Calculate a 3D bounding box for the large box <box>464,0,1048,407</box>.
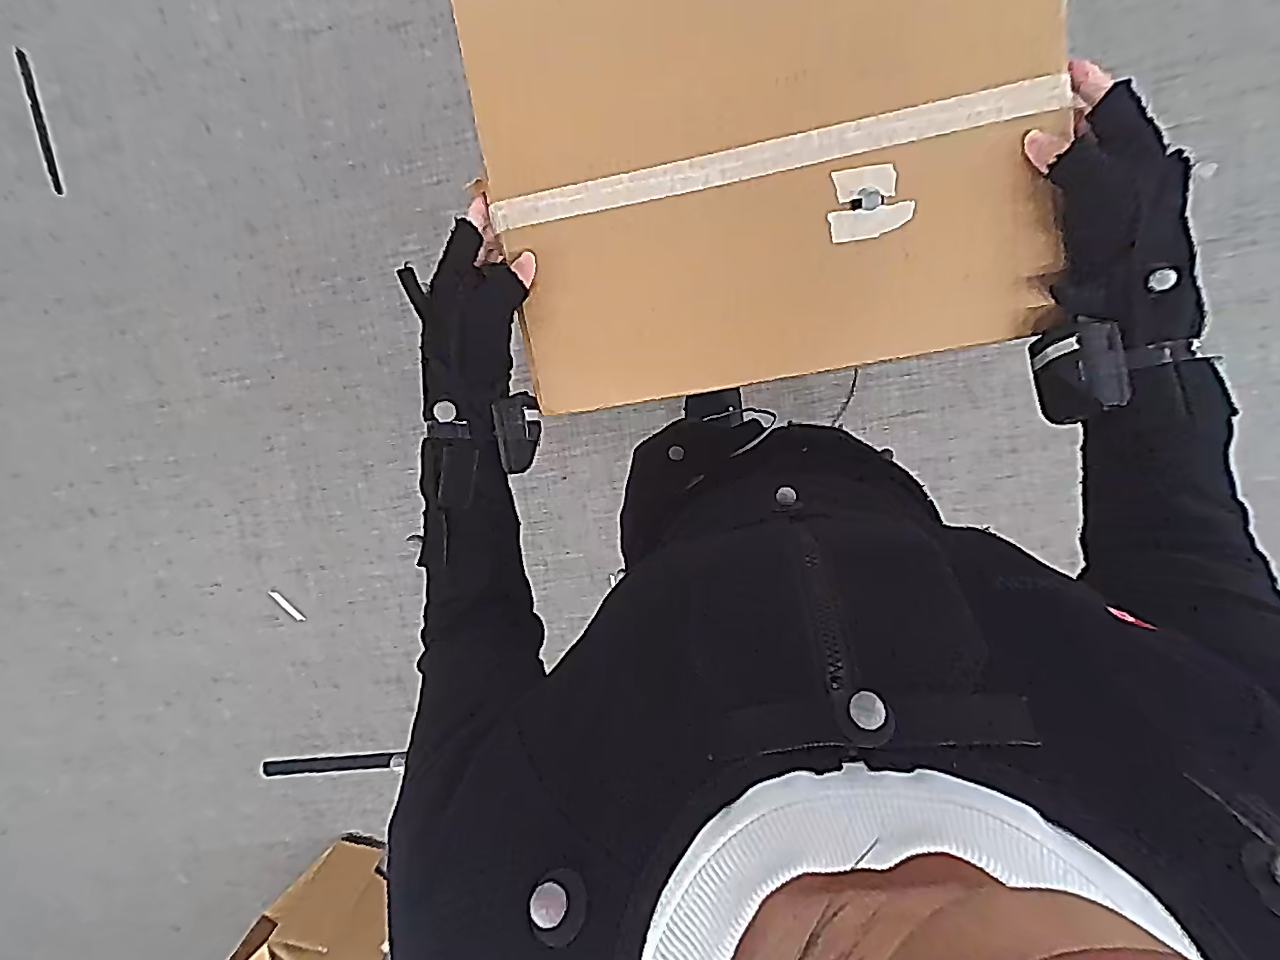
[{"bbox_3d":[0.099,-0.271,0.549,0.408,0.320,0.320,-9,103,7],"label":"large box"}]
